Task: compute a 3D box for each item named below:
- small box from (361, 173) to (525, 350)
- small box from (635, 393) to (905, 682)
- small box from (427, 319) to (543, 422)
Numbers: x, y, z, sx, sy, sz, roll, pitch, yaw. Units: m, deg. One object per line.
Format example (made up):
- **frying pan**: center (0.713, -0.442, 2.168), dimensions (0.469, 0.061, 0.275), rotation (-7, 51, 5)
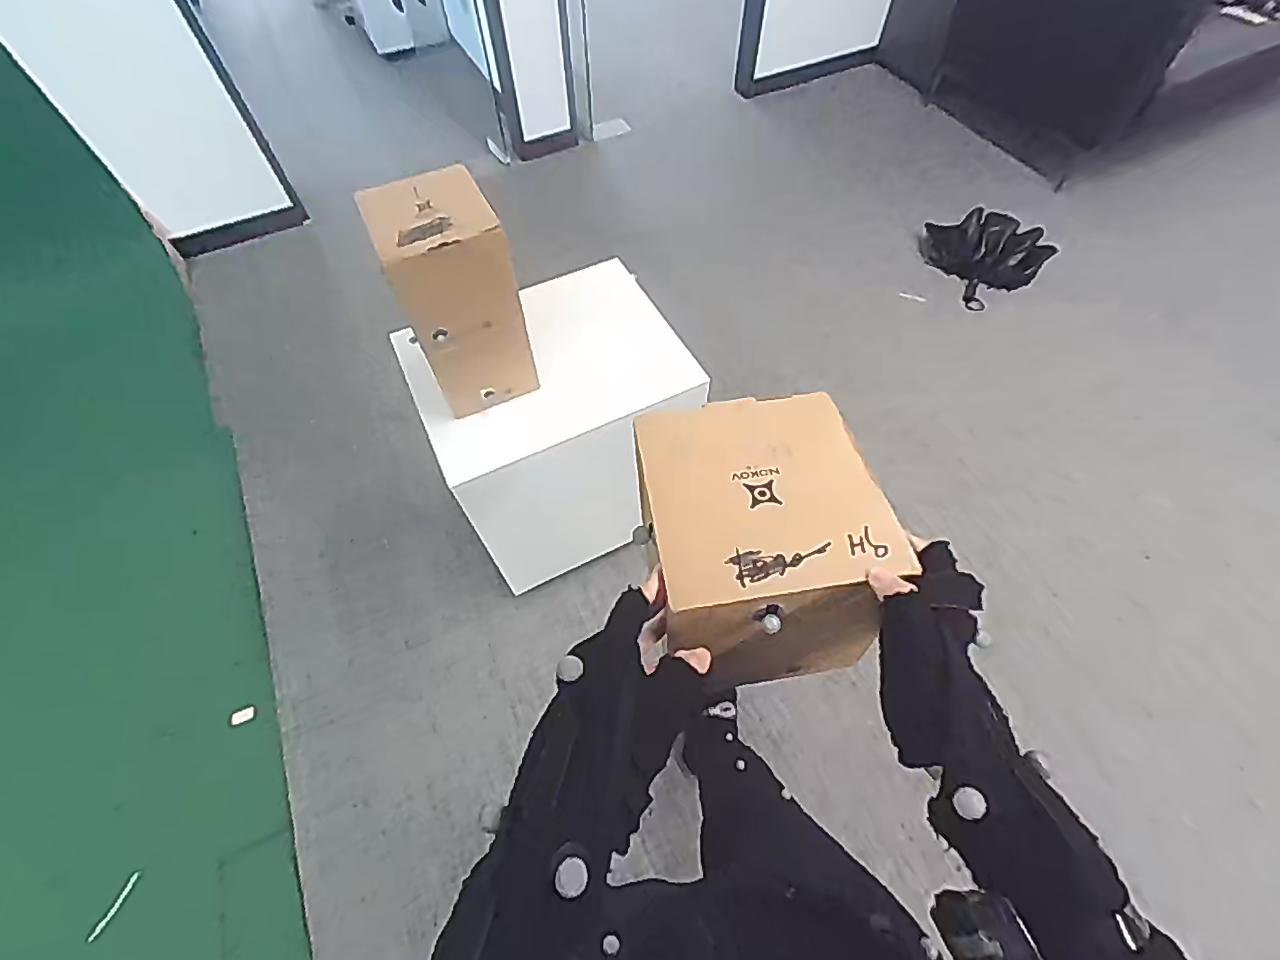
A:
- **small box**: center (-0.290, -0.322, 0.821), dimensions (0.168, 0.176, 0.179), rotation (-23, 61, -13)
- **small box**: center (0.089, 0.052, 0.469), dimensions (0.168, 0.176, 0.179), rotation (-8, 52, -2)
- **small box**: center (-0.288, -0.237, 0.963), dimensions (0.168, 0.176, 0.179), rotation (-25, 64, -13)
